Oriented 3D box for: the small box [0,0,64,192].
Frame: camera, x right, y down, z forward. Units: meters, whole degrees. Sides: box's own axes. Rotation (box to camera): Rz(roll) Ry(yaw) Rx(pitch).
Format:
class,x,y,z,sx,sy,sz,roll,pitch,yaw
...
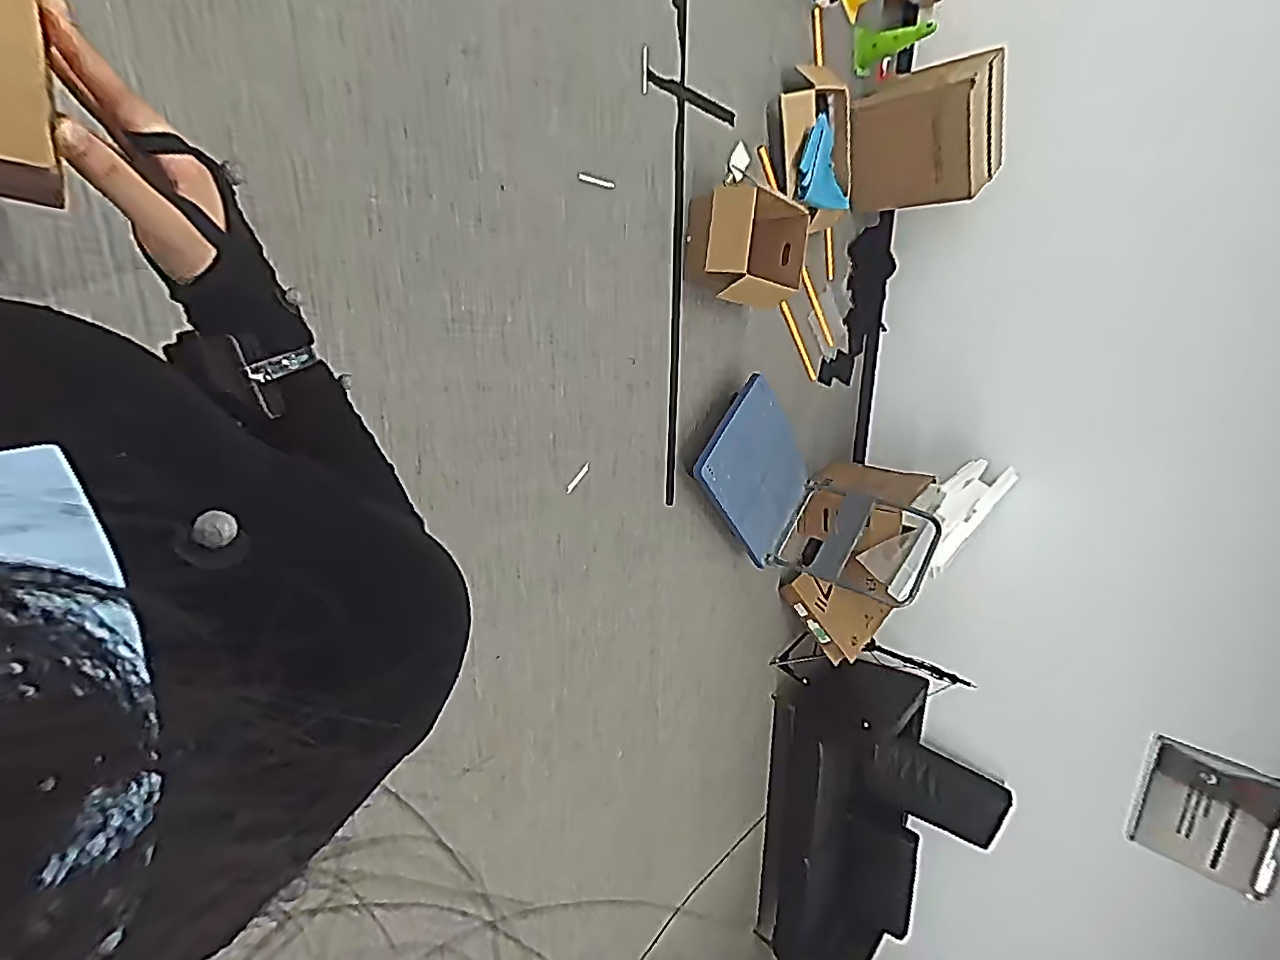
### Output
class,x,y,z,sx,sy,sz,roll,pitch,yaw
small box,-0.385,-0.251,0.243,0.168,0.176,0.179,-5,106,-46
